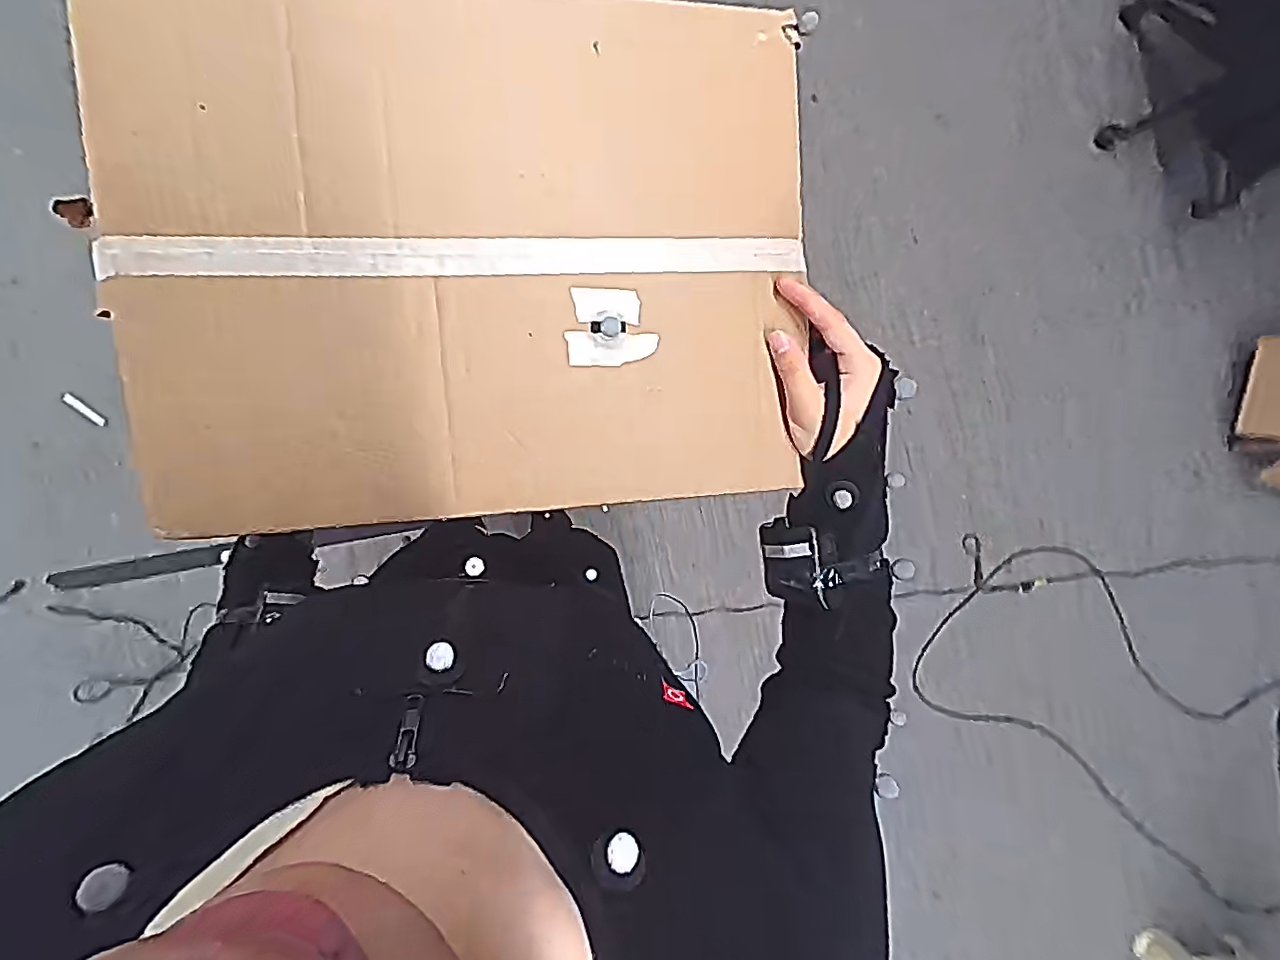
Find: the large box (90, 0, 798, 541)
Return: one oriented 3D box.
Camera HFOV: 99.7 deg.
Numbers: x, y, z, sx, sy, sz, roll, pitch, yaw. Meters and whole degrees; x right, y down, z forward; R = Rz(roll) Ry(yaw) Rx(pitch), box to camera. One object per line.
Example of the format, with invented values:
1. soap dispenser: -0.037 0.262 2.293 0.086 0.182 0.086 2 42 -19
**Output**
1. large box: -0.122 -0.146 0.486 0.408 0.320 0.320 -6 96 -12
